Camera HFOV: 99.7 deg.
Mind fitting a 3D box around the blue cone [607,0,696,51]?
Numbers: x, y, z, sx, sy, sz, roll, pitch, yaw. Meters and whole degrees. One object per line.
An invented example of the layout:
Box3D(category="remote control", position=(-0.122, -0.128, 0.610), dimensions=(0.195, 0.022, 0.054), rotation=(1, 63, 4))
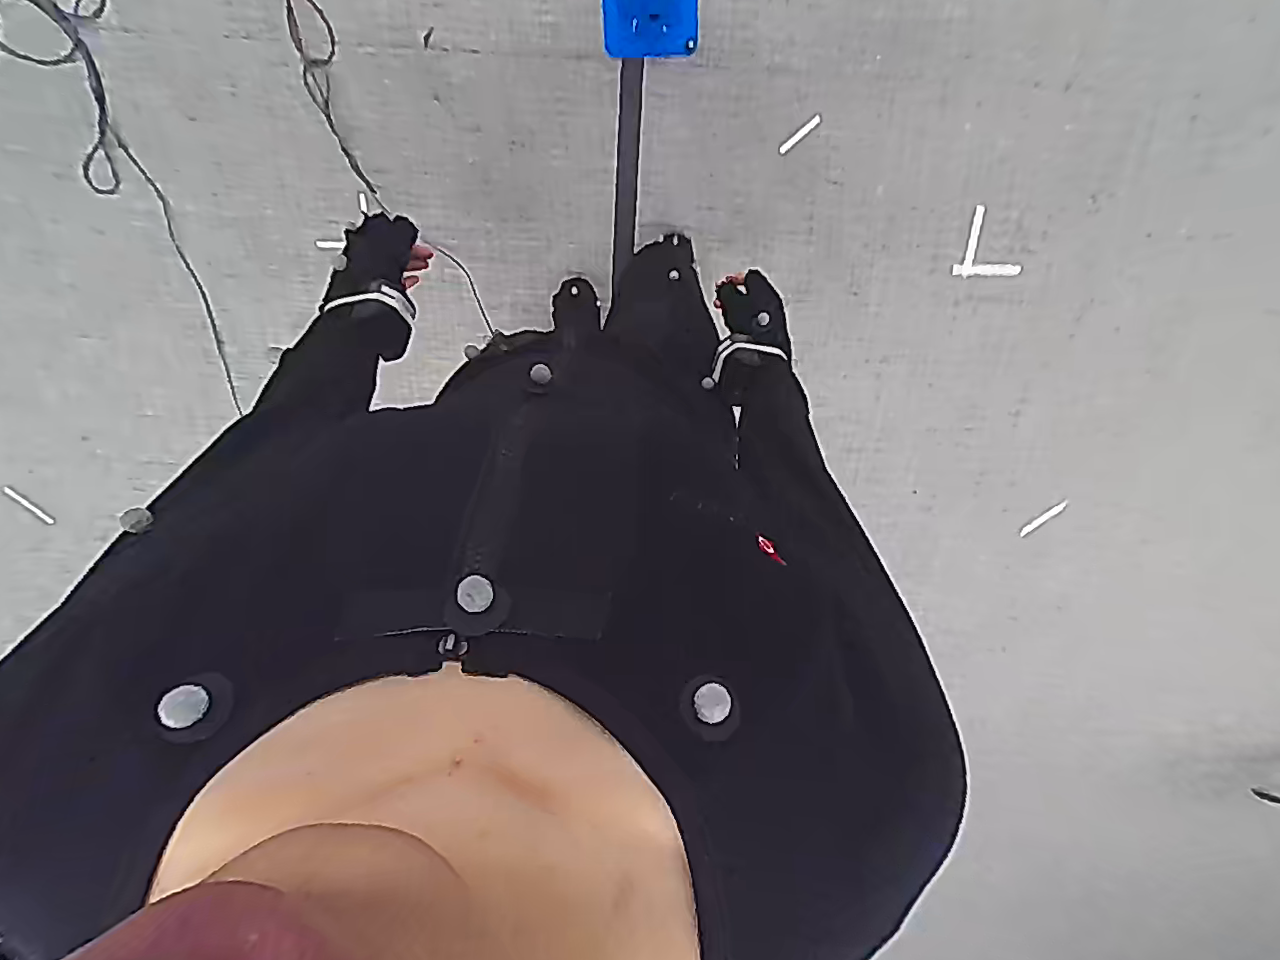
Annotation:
Box3D(category="blue cone", position=(0.035, -0.940, 0.965), dimensions=(0.192, 0.380, 0.193), rotation=(-2, 113, -3))
